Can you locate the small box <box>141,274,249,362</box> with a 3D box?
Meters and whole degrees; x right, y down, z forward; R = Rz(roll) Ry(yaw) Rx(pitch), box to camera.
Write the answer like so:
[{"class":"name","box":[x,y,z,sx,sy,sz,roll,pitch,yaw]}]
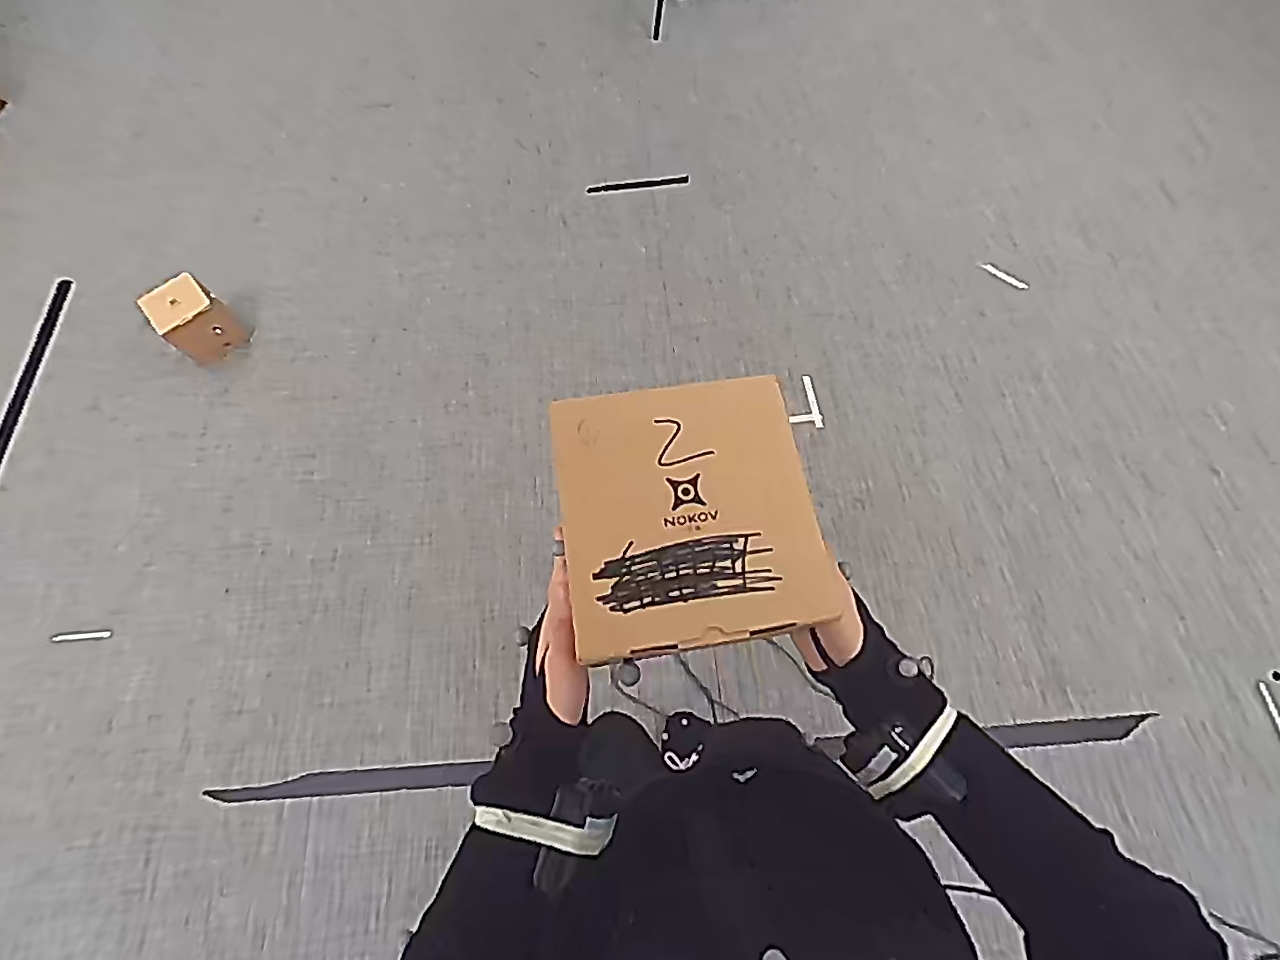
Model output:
[{"class":"small box","box":[-1.371,-0.493,1.679,0.168,0.176,0.179,-40,71,-14]}]
